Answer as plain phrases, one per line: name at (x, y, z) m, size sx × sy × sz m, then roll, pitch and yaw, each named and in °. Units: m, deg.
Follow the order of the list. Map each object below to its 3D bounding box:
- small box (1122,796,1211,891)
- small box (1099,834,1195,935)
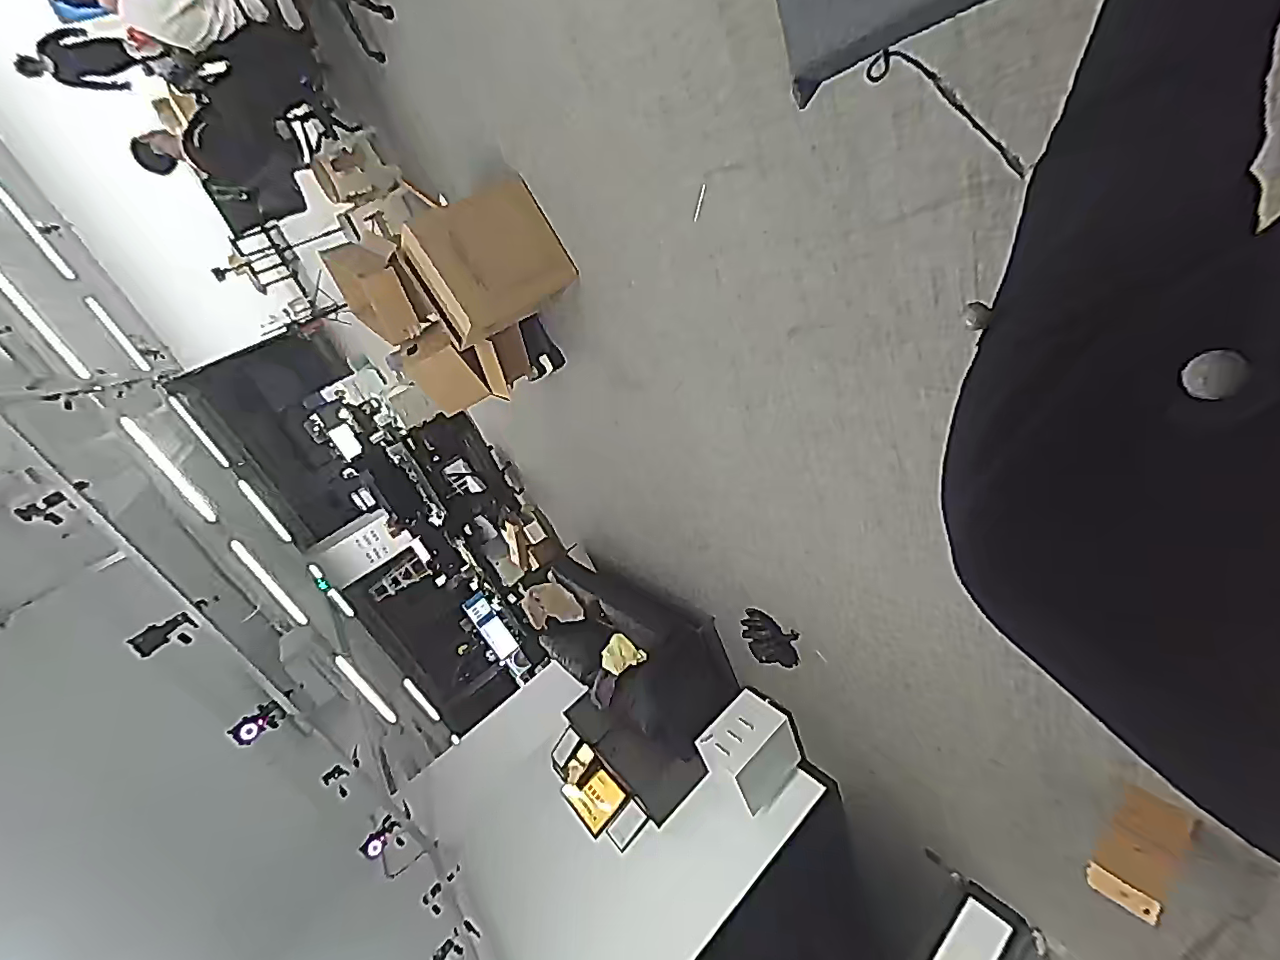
small box at (1.733, 1.186, 1.785) m, size 0.179 × 0.176 × 0.168 m, roll 16°, pitch 137°, yaw 52°
small box at (1.610, 1.273, 1.720) m, size 0.179 × 0.176 × 0.168 m, roll 21°, pitch 141°, yaw 51°
